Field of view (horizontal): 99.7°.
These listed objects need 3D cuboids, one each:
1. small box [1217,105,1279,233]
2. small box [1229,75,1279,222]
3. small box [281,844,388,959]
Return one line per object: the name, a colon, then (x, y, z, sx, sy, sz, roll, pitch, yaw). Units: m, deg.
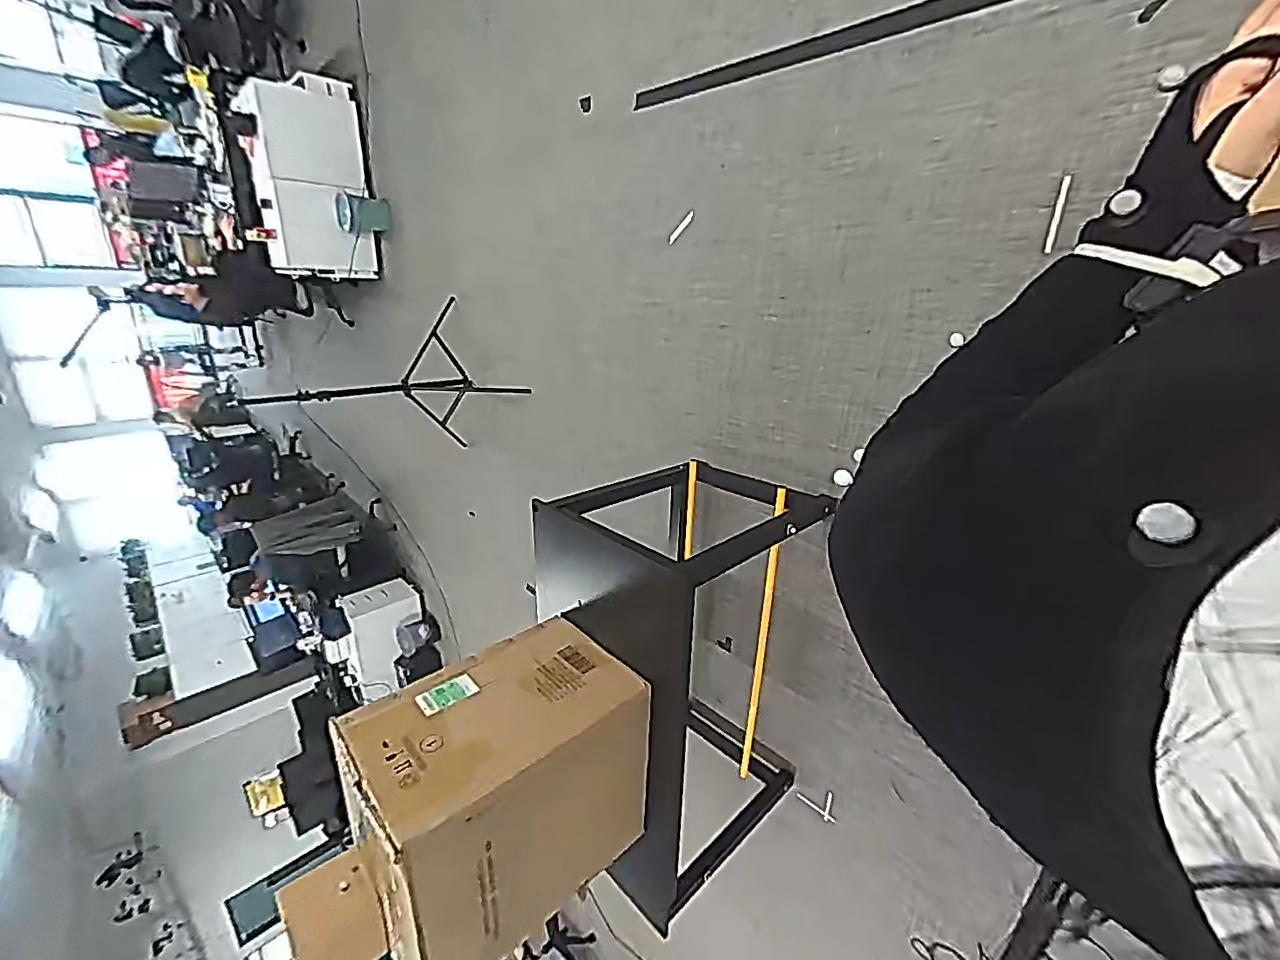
small box: (1.062, -0.504, 0.863, 0.168, 0.176, 0.179, 14, 114, 46)
small box: (0.955, -0.463, 0.745, 0.168, 0.176, 0.179, 13, 112, 46)
small box: (-0.676, 0.975, 1.207, 0.168, 0.176, 0.179, 23, 117, 44)
